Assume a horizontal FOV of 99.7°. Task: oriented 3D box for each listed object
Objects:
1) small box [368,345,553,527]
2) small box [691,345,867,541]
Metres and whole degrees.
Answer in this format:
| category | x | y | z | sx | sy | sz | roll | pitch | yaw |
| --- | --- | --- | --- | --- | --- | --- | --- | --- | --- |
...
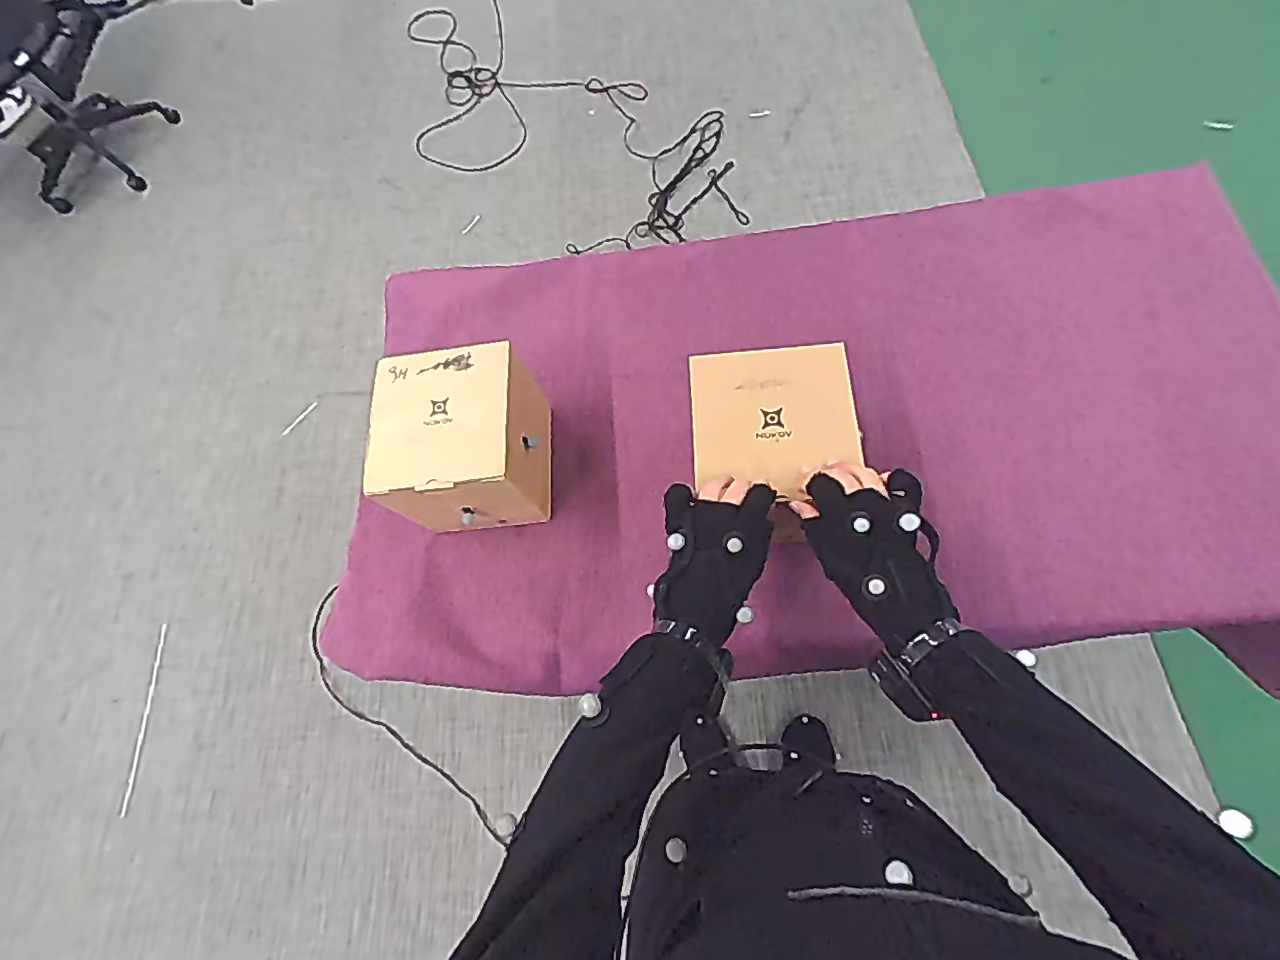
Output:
| category | x | y | z | sx | sy | sz | roll | pitch | yaw |
| --- | --- | --- | --- | --- | --- | --- | --- | --- | --- |
| small box | -0.211 | -0.043 | 0.685 | 0.168 | 0.176 | 0.179 | -6 | 69 | 6 |
| small box | 0.149 | -0.029 | 0.625 | 0.168 | 0.176 | 0.179 | -3 | 69 | 7 |
